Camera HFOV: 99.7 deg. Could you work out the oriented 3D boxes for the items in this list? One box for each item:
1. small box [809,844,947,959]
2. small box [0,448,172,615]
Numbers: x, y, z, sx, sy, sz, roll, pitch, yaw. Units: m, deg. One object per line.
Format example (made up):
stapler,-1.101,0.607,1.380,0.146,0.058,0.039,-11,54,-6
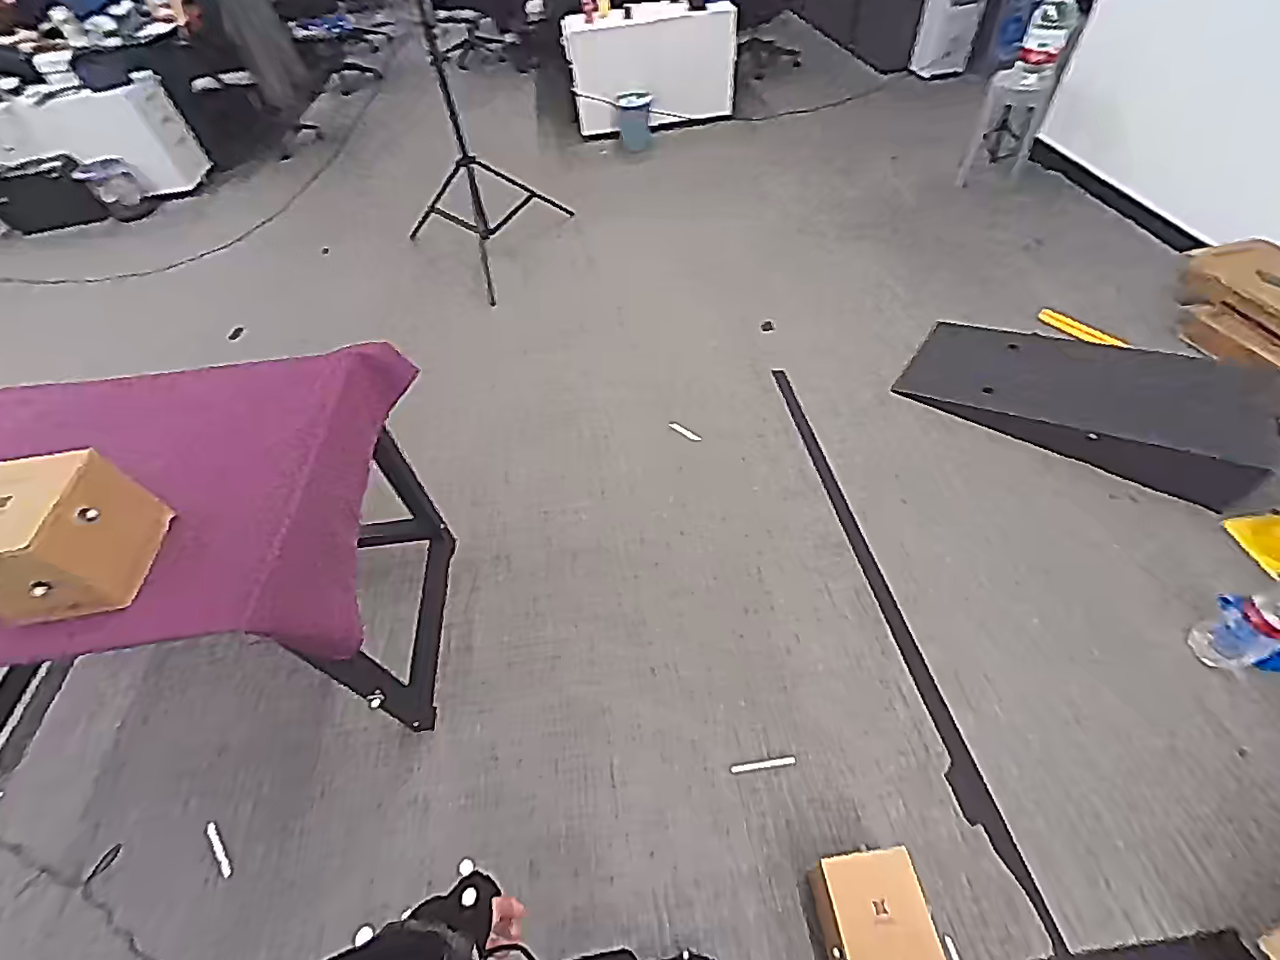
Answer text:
small box,0.434,0.810,1.022,0.168,0.176,0.179,-8,52,-1
small box,-0.844,0.082,0.785,0.168,0.176,0.179,-9,51,-2
